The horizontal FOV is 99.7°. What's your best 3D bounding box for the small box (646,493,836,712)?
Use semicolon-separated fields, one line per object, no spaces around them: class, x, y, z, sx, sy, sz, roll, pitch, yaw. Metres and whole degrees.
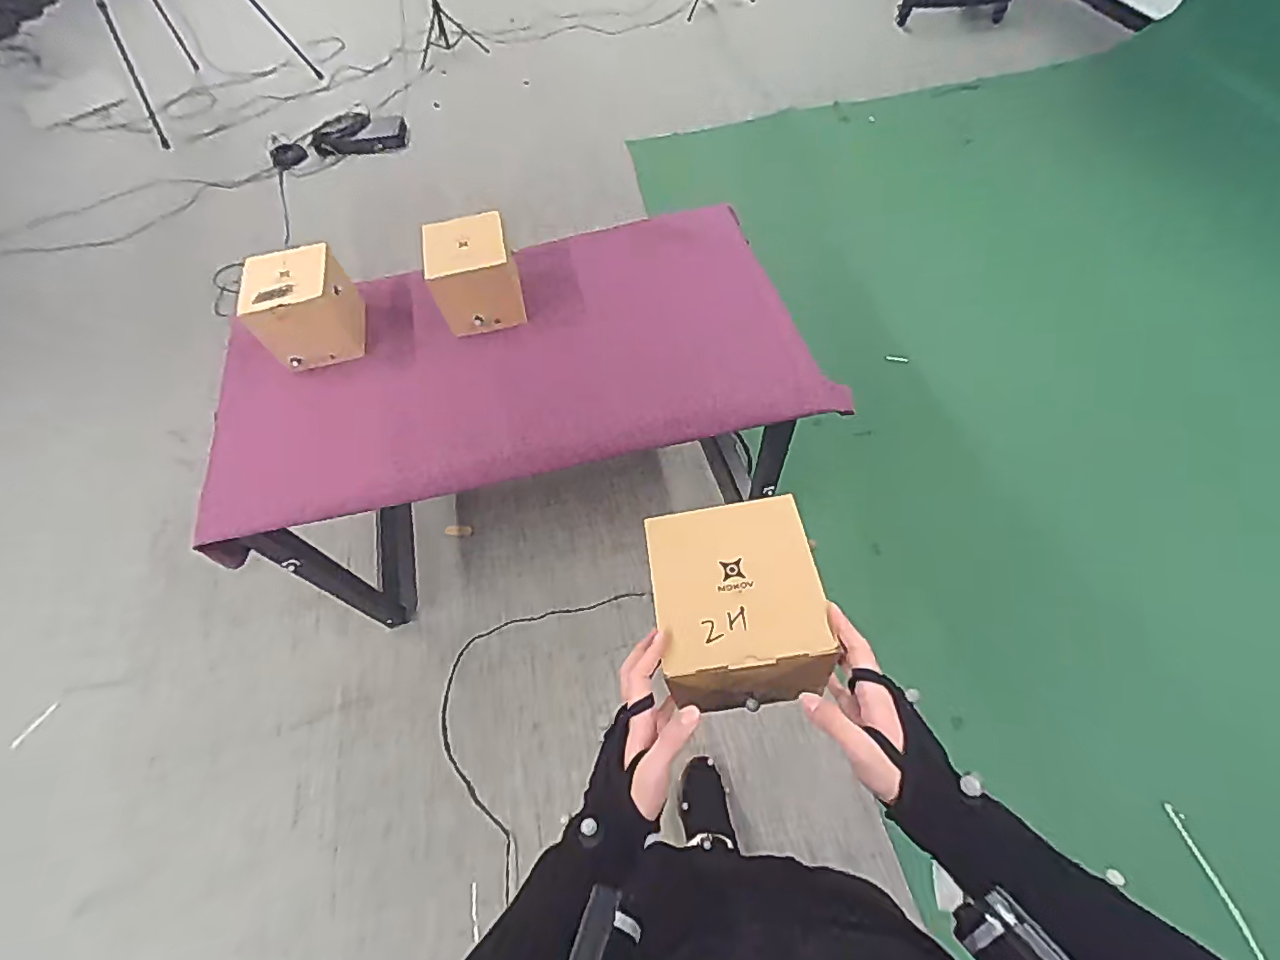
small box;0.105;0.142;0.608;0.168;0.176;0.179;-10;53;6

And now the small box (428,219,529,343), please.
small box;-0.348;-0.430;1.176;0.168;0.176;0.179;-13;60;-3

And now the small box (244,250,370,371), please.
small box;-0.697;-0.352;1.154;0.168;0.176;0.179;-14;59;-4
